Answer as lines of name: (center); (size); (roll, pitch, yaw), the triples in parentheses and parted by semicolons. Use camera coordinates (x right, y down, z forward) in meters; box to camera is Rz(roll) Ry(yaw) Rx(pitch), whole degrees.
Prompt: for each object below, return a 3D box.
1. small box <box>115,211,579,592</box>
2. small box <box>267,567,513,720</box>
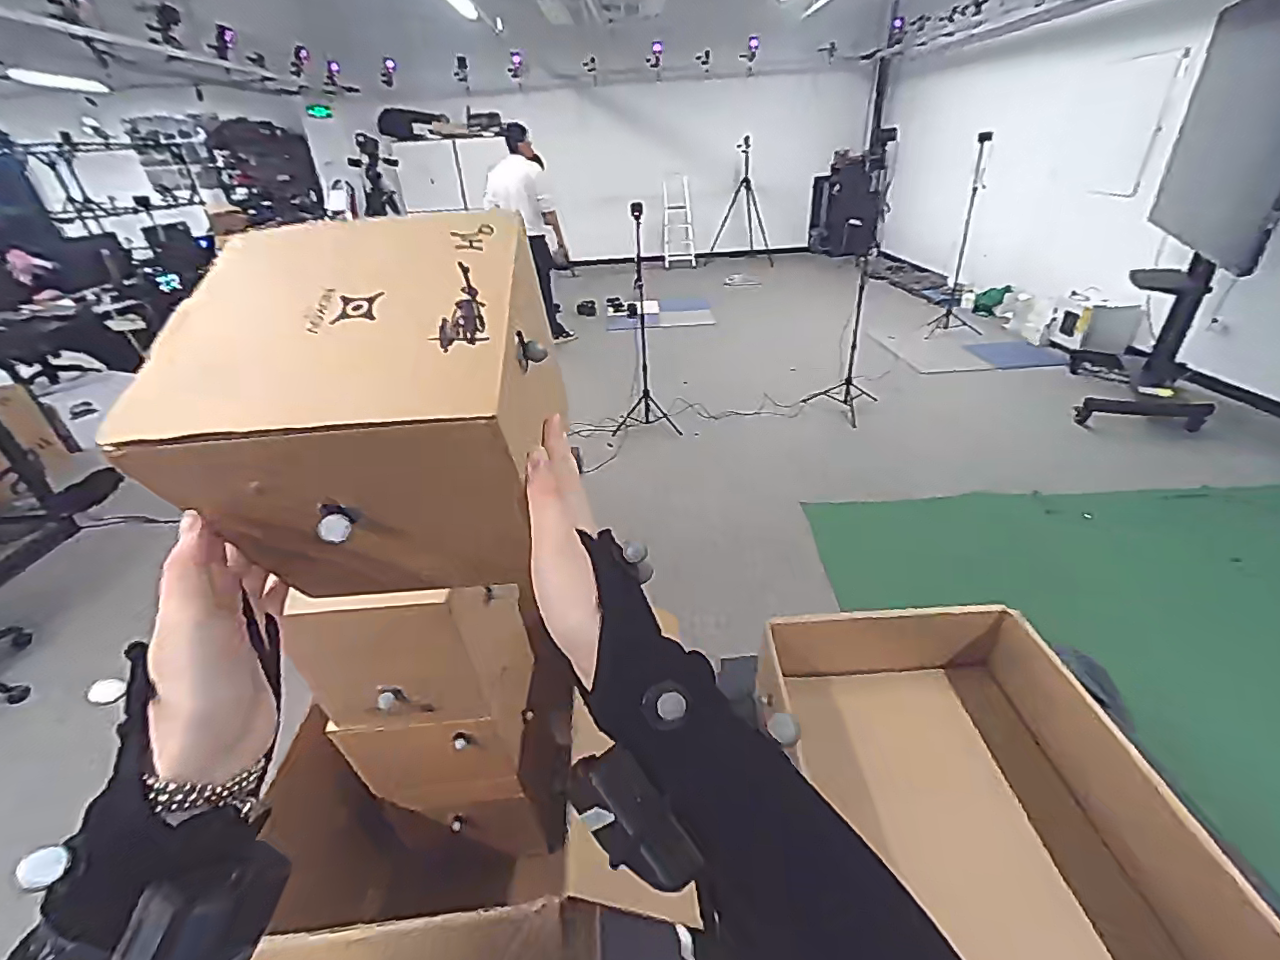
small box: (-0.140, -0.038, 0.340); (0.179, 0.176, 0.168); (-5, 57, 1)
small box: (-0.242, 0.128, 0.581); (0.168, 0.176, 0.179); (-5, 35, 1)
